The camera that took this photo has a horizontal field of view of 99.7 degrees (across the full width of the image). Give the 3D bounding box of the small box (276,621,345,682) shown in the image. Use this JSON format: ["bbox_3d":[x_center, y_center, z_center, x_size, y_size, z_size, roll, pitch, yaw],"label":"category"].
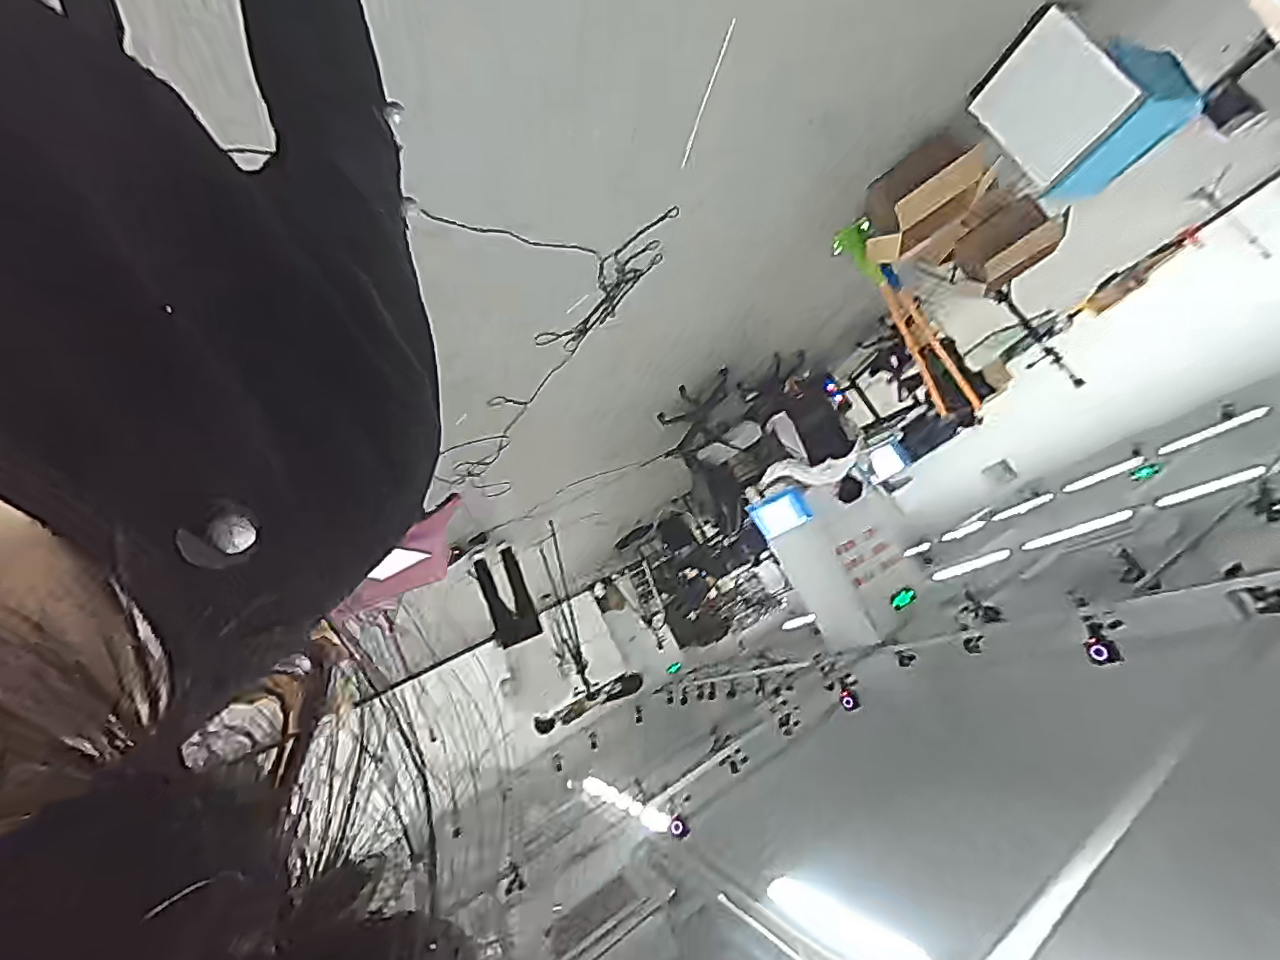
[{"bbox_3d":[-1.241,0.651,2.036,0.168,0.176,0.179,-21,162,-26],"label":"small box"}]

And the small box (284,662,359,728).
[{"bbox_3d":[-1.170,0.789,1.989,0.179,0.176,0.168,-22,163,-23],"label":"small box"}]
